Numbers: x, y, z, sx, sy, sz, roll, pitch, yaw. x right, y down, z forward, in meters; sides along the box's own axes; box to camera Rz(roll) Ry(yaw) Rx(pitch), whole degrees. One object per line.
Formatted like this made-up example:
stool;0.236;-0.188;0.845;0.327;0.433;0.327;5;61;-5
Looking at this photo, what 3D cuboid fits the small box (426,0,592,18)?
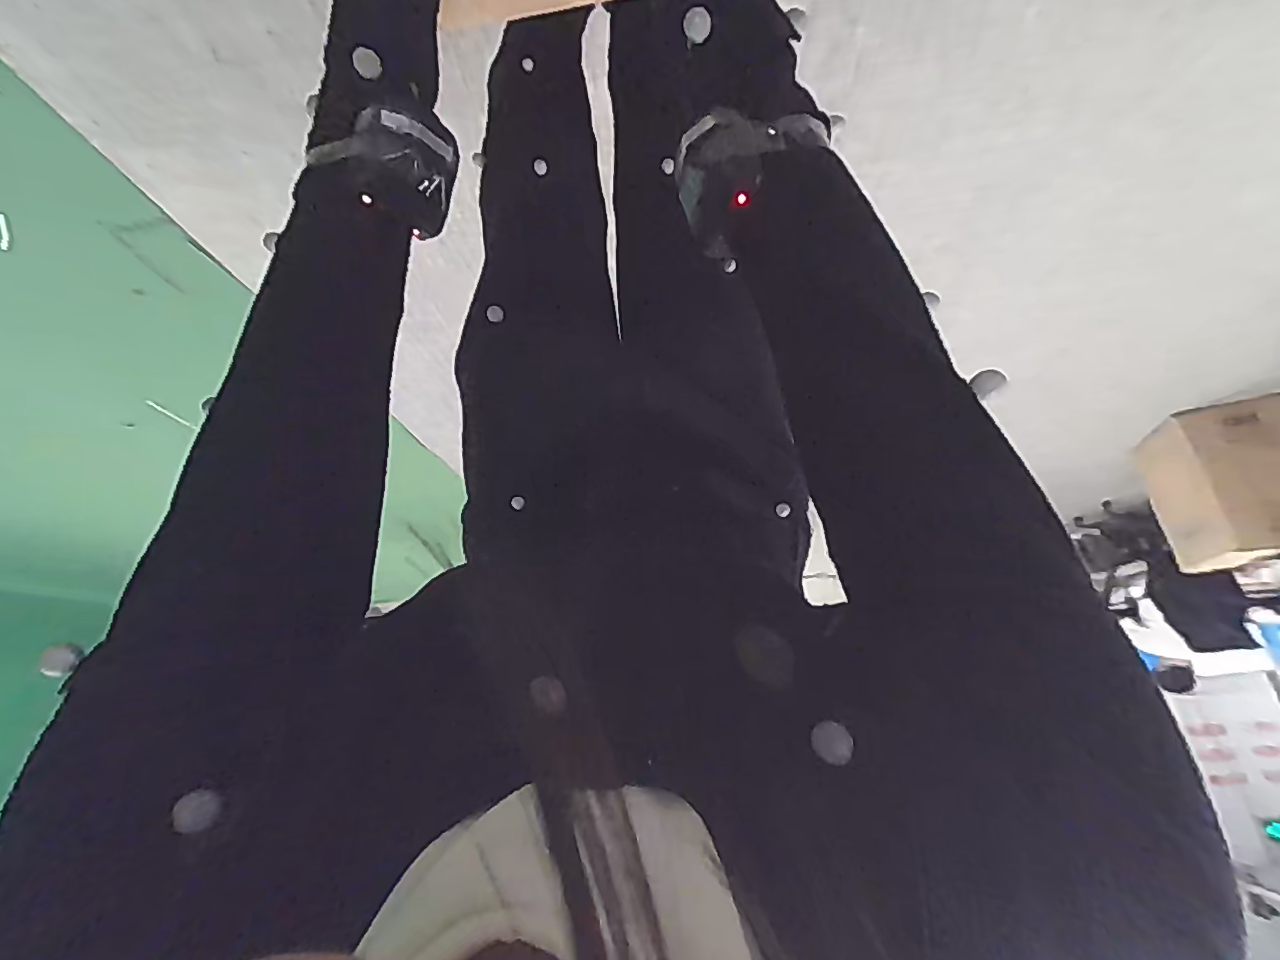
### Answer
small box;-0.080;-0.457;0.356;0.179;0.176;0.168;-6;156;2
